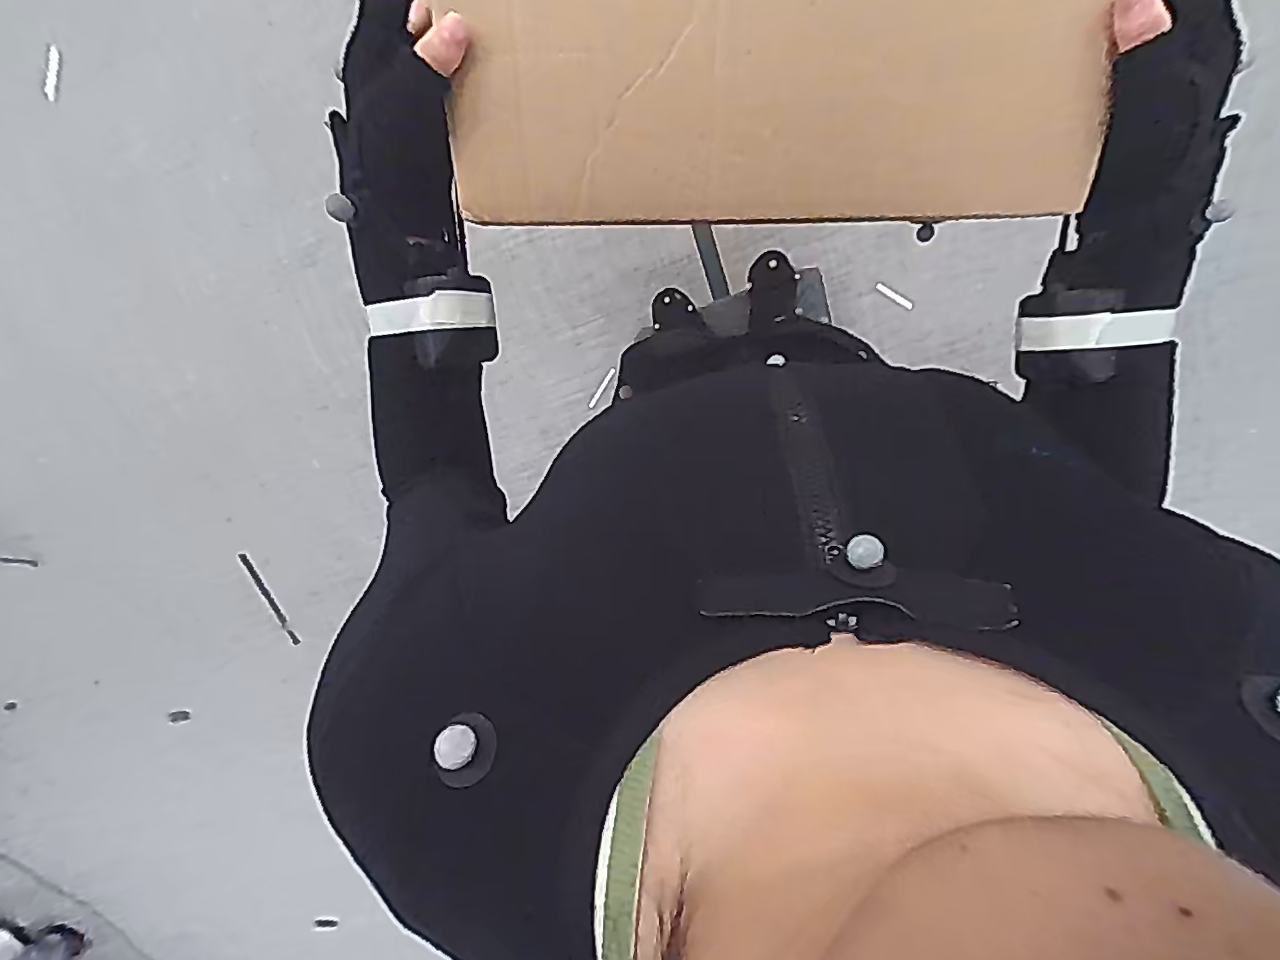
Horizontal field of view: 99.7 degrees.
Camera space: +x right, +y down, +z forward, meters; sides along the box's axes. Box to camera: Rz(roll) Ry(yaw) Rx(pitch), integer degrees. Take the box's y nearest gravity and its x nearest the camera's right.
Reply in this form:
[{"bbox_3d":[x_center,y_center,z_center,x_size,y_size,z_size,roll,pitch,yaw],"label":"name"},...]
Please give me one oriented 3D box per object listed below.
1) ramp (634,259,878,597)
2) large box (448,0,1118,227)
[{"bbox_3d":[0.386,-0.071,1.594,0.509,0.206,0.991,-20,108,10],"label":"ramp"},{"bbox_3d":[0.087,-0.384,0.435,0.408,0.320,0.320,0,116,1],"label":"large box"}]
